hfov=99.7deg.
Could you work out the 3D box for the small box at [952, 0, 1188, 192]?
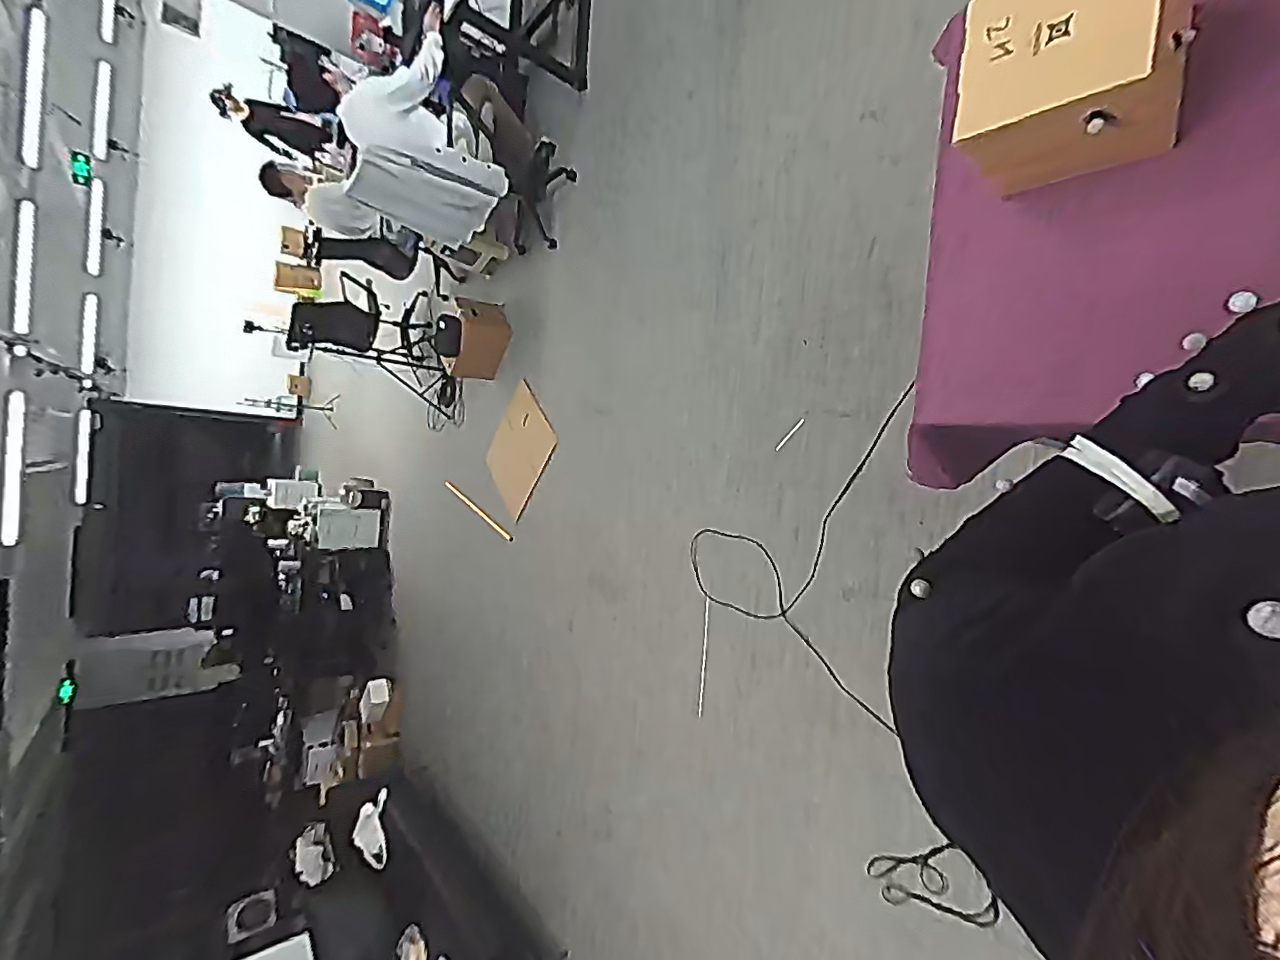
[{"bbox_3d":[0.497,-0.468,0.626,0.179,0.176,0.168,9,94,51],"label":"small box"}]
